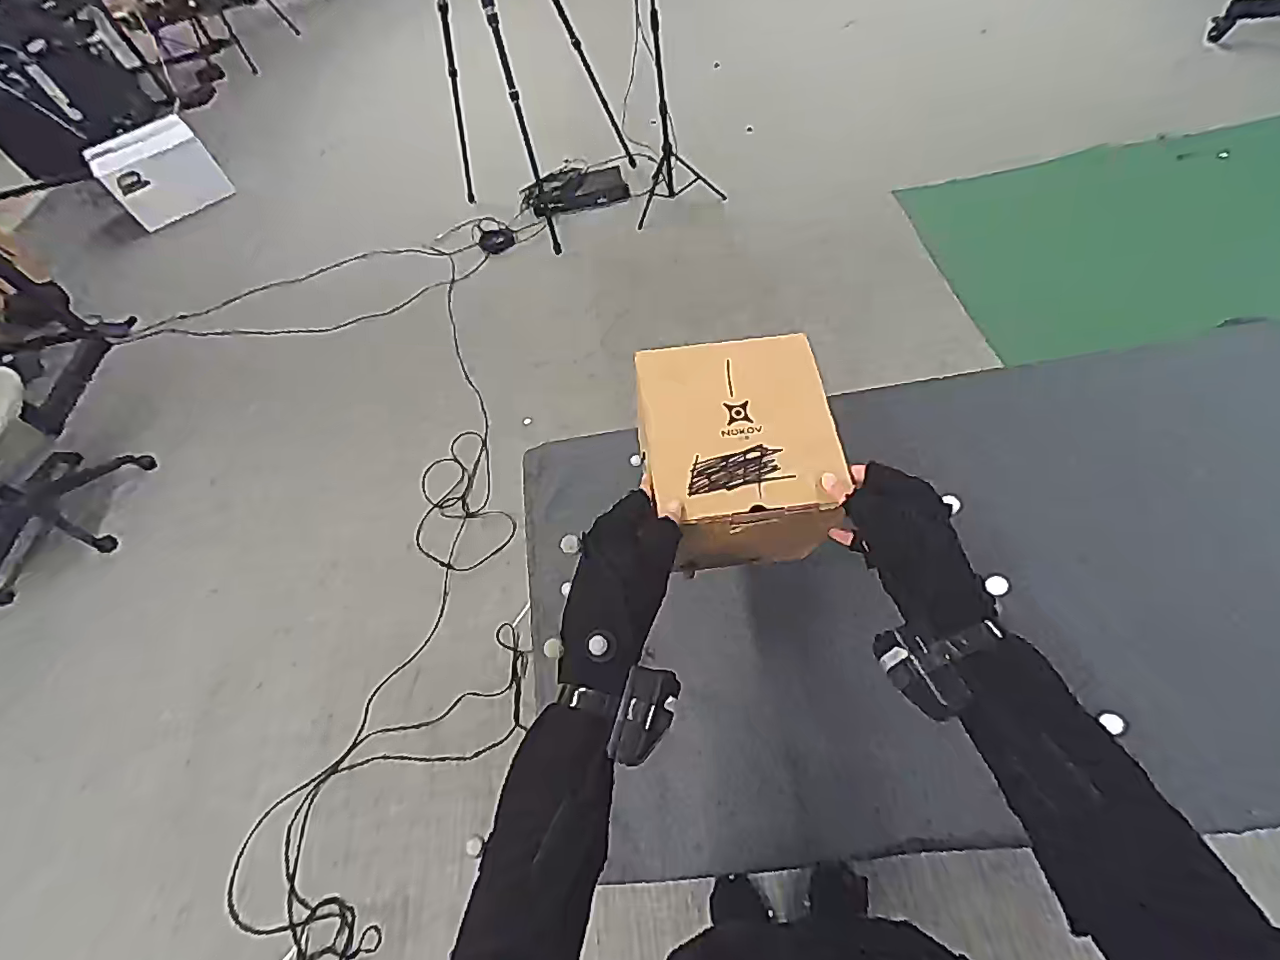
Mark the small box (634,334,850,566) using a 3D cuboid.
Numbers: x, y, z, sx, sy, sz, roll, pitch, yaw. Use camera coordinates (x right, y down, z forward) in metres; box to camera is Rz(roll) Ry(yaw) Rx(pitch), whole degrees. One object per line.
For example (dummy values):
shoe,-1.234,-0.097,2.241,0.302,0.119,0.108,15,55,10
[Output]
small box,0.087,-0.018,0.546,0.168,0.176,0.179,-6,66,-1
